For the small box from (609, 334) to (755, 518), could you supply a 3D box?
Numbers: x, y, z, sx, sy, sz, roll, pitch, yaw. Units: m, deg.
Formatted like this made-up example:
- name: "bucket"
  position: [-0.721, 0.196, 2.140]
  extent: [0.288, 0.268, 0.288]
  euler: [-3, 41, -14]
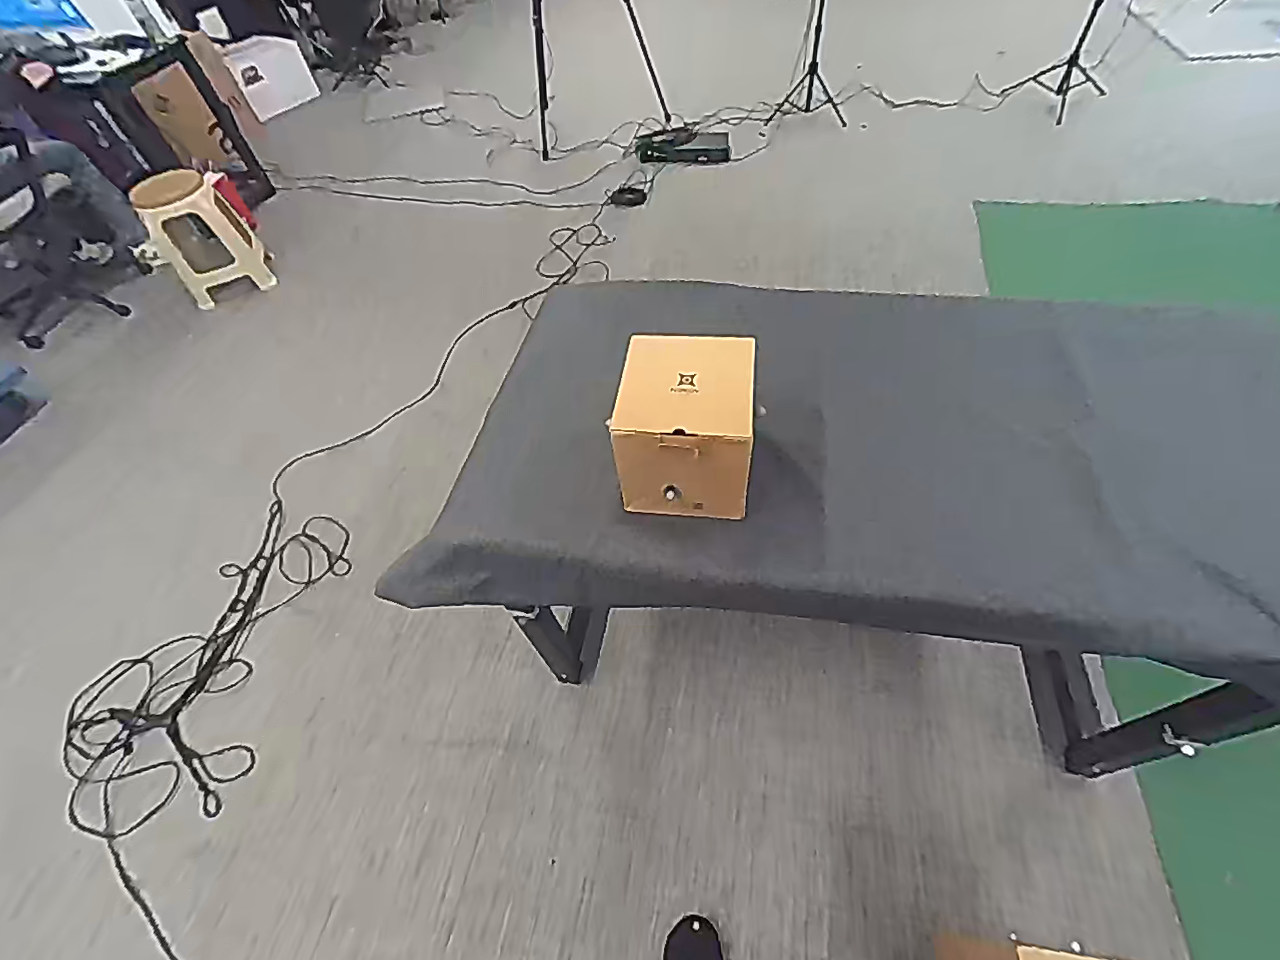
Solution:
- name: "small box"
  position: [0.061, -0.071, 0.723]
  extent: [0.168, 0.176, 0.179]
  euler: [3, 54, 8]

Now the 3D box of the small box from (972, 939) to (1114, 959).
- name: "small box"
  position: [0.600, 0.756, 0.748]
  extent: [0.179, 0.176, 0.168]
  euler: [2, 53, 9]
